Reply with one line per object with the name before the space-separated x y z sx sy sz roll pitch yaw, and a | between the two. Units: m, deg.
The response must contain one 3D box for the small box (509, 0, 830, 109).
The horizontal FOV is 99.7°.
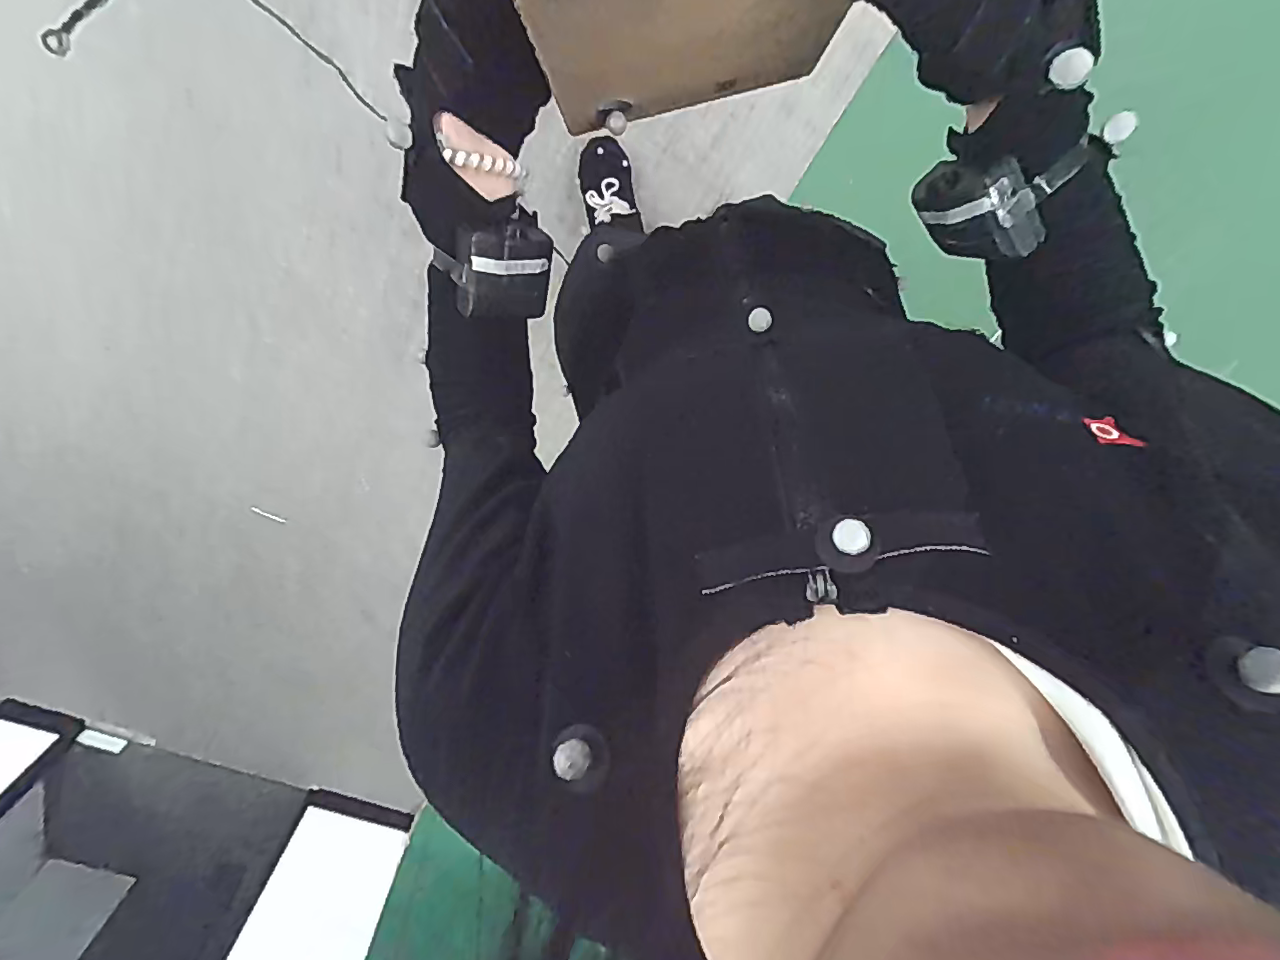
small box | 0.010 -0.312 0.259 0.168 0.176 0.179 -12 103 4
